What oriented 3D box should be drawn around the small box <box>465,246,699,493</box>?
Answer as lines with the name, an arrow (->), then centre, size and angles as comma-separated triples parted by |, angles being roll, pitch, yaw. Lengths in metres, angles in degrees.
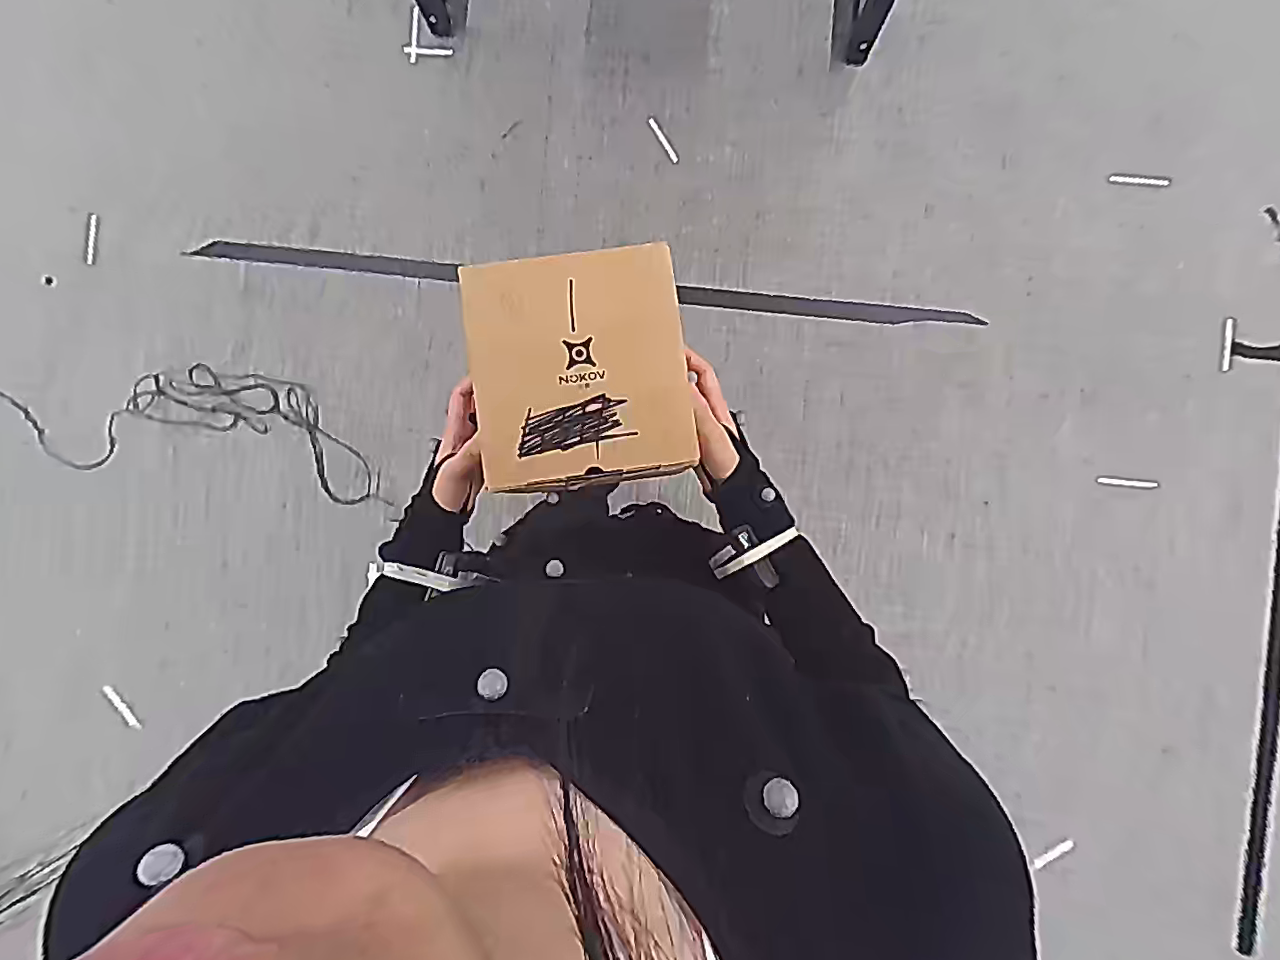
small box -> -0.046, -0.083, 0.492 | 0.168, 0.176, 0.179 | -7, 87, -3
